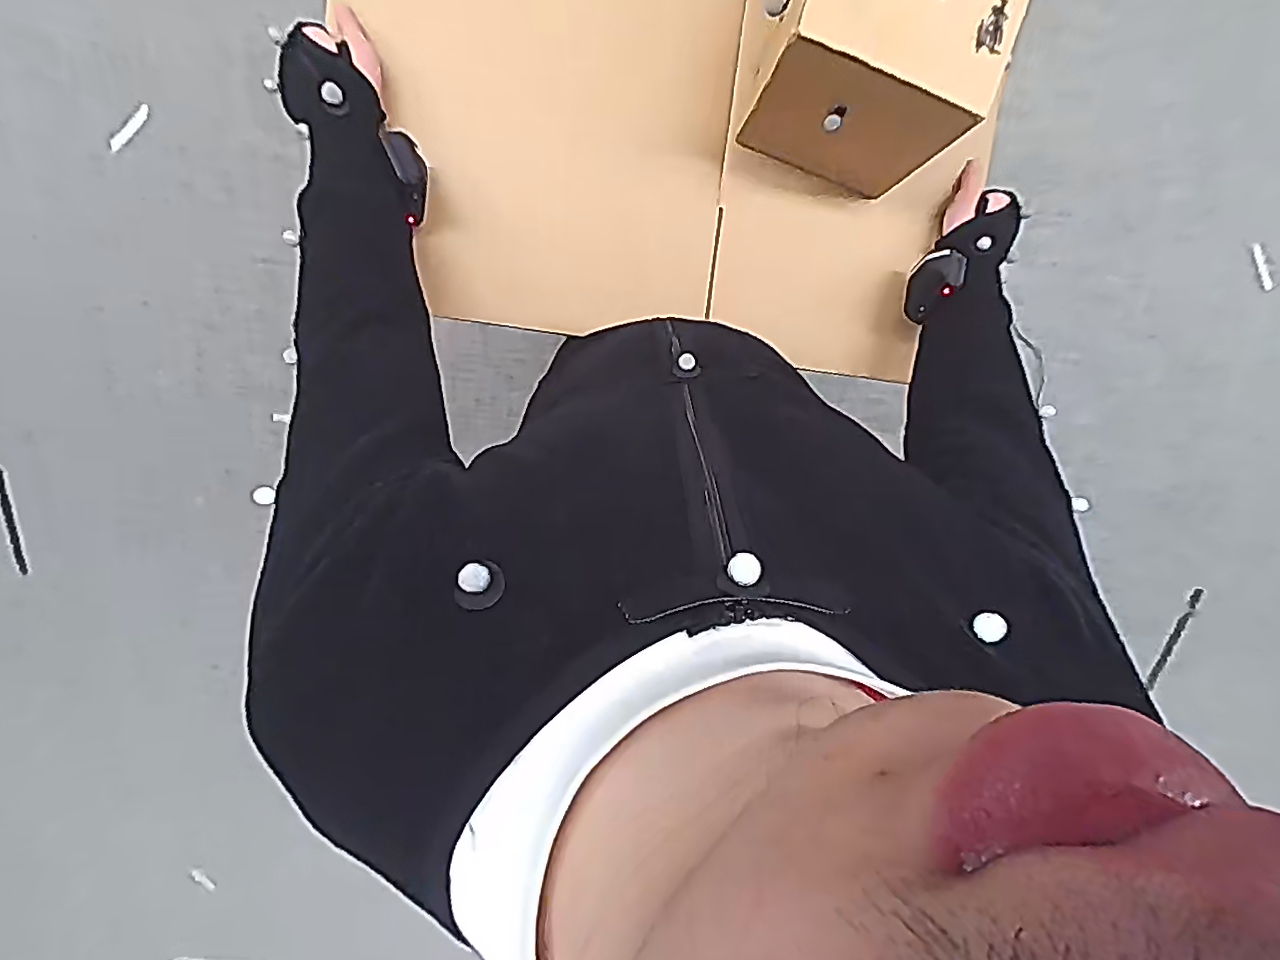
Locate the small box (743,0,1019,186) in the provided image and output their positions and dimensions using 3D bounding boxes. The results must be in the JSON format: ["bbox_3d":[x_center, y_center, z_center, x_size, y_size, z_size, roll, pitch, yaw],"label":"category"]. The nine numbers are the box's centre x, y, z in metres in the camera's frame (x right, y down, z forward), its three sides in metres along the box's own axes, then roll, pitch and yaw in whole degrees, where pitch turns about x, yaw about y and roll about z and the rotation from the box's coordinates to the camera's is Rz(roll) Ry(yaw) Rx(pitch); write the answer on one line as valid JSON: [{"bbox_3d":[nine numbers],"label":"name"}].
[{"bbox_3d":[0.216,-0.412,0.509,0.179,0.176,0.168,17,95,-7],"label":"small box"}]
